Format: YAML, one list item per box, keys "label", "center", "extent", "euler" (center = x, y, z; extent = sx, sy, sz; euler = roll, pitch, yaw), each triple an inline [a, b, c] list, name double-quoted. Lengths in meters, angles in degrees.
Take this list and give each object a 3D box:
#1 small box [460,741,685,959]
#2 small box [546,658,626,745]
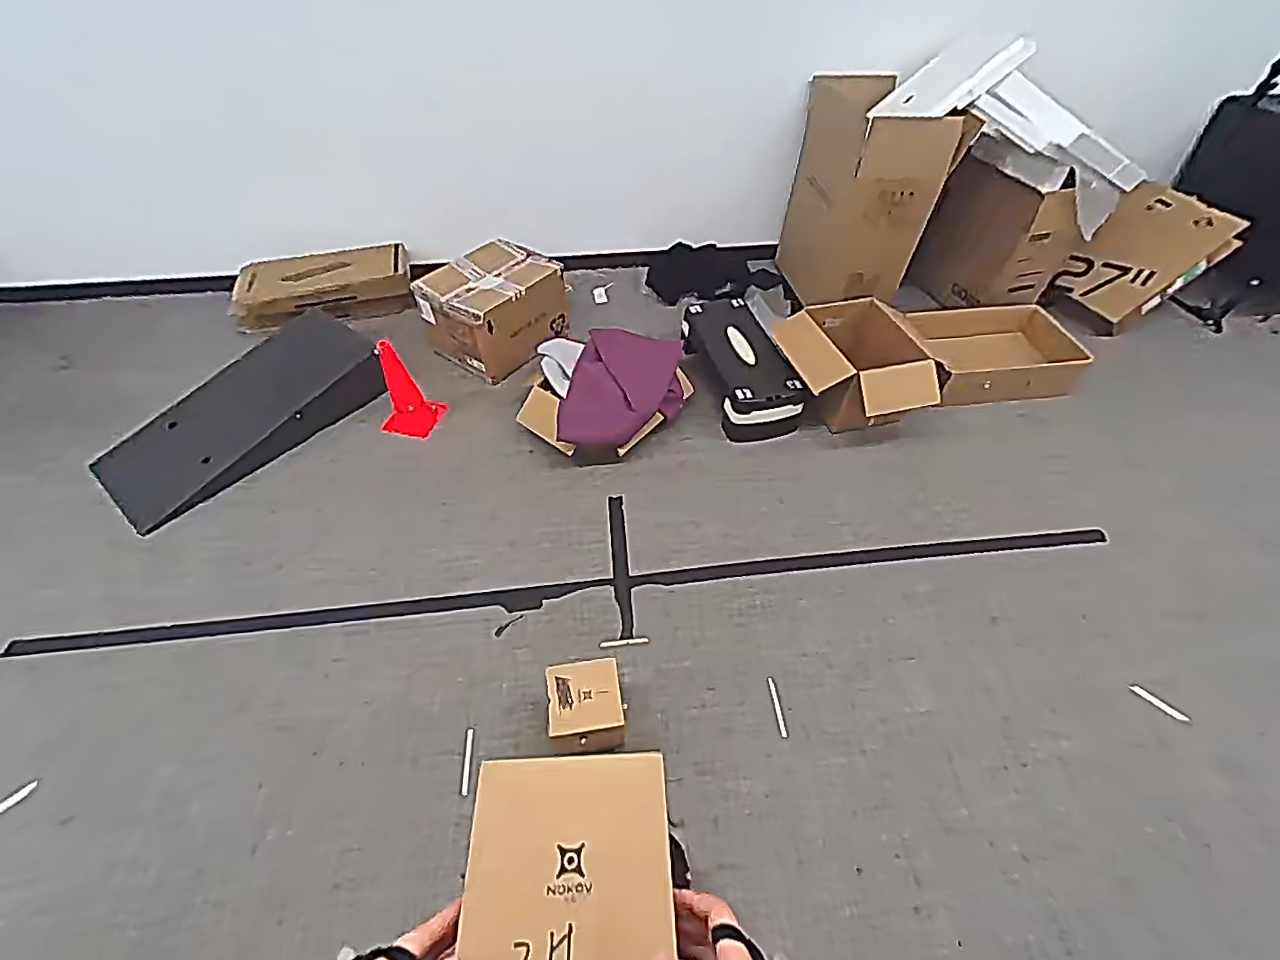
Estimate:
- label: "small box"
  center: [-0.053, 0.357, 0.491]
  extent: [0.168, 0.176, 0.179]
  euler: [-2, 48, -2]
- label: "small box"
  center: [-0.131, 0.563, 1.337]
  extent: [0.179, 0.176, 0.168]
  euler: [-7, 50, -6]
